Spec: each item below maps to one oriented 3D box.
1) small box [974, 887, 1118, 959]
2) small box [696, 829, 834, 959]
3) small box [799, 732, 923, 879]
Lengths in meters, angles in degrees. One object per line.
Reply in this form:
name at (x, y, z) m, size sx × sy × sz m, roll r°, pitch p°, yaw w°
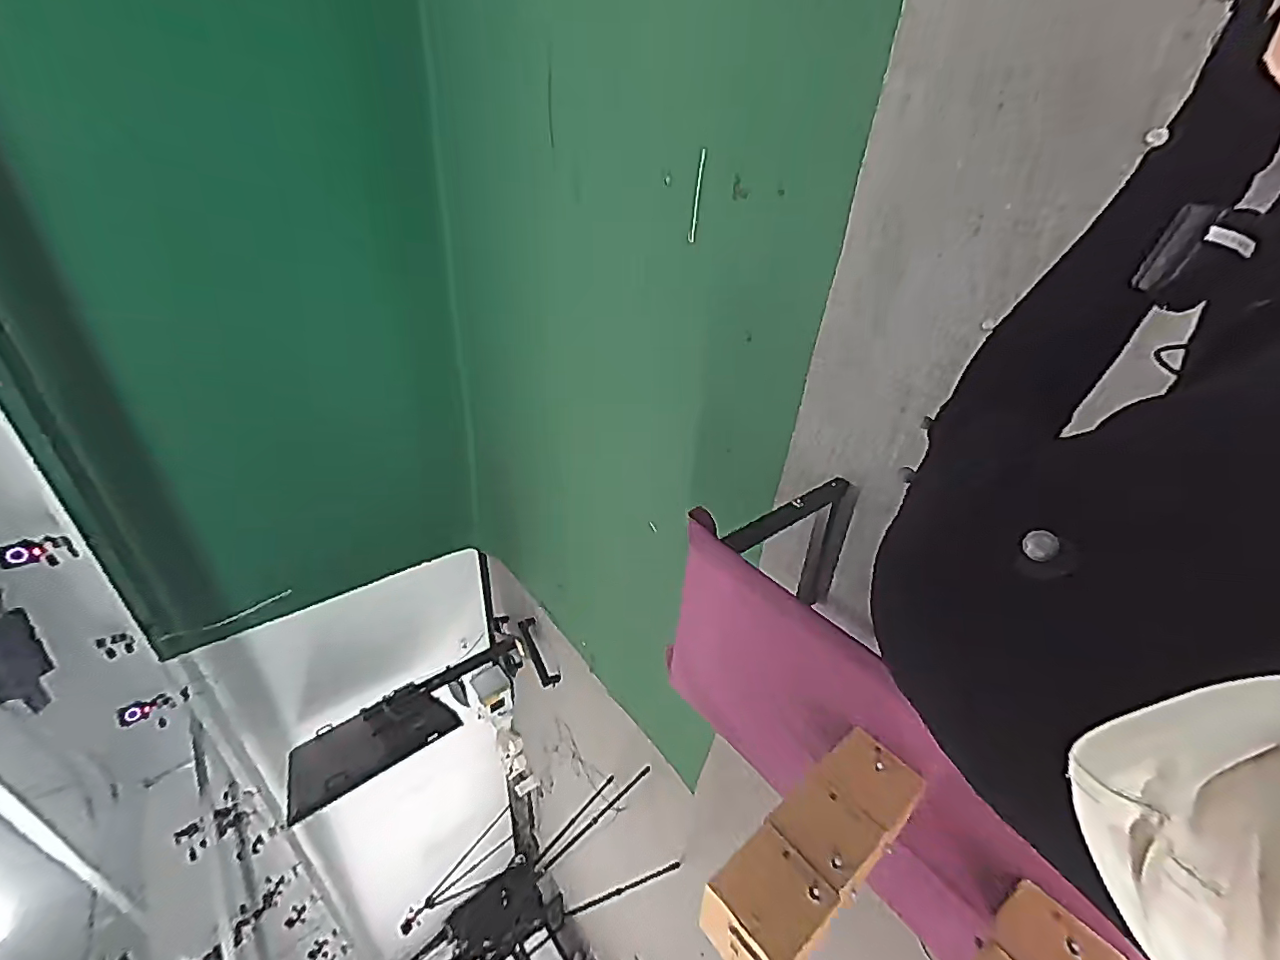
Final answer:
small box at (0.699, 0.877, 0.944) m, size 0.168 × 0.176 × 0.179 m, roll 32°, pitch 130°, yaw 43°
small box at (0.222, 0.780, 0.968) m, size 0.168 × 0.176 × 0.179 m, roll 34°, pitch 134°, yaw 41°
small box at (0.473, 0.691, 1.161) m, size 0.168 × 0.176 × 0.179 m, roll 34°, pitch 132°, yaw 40°
